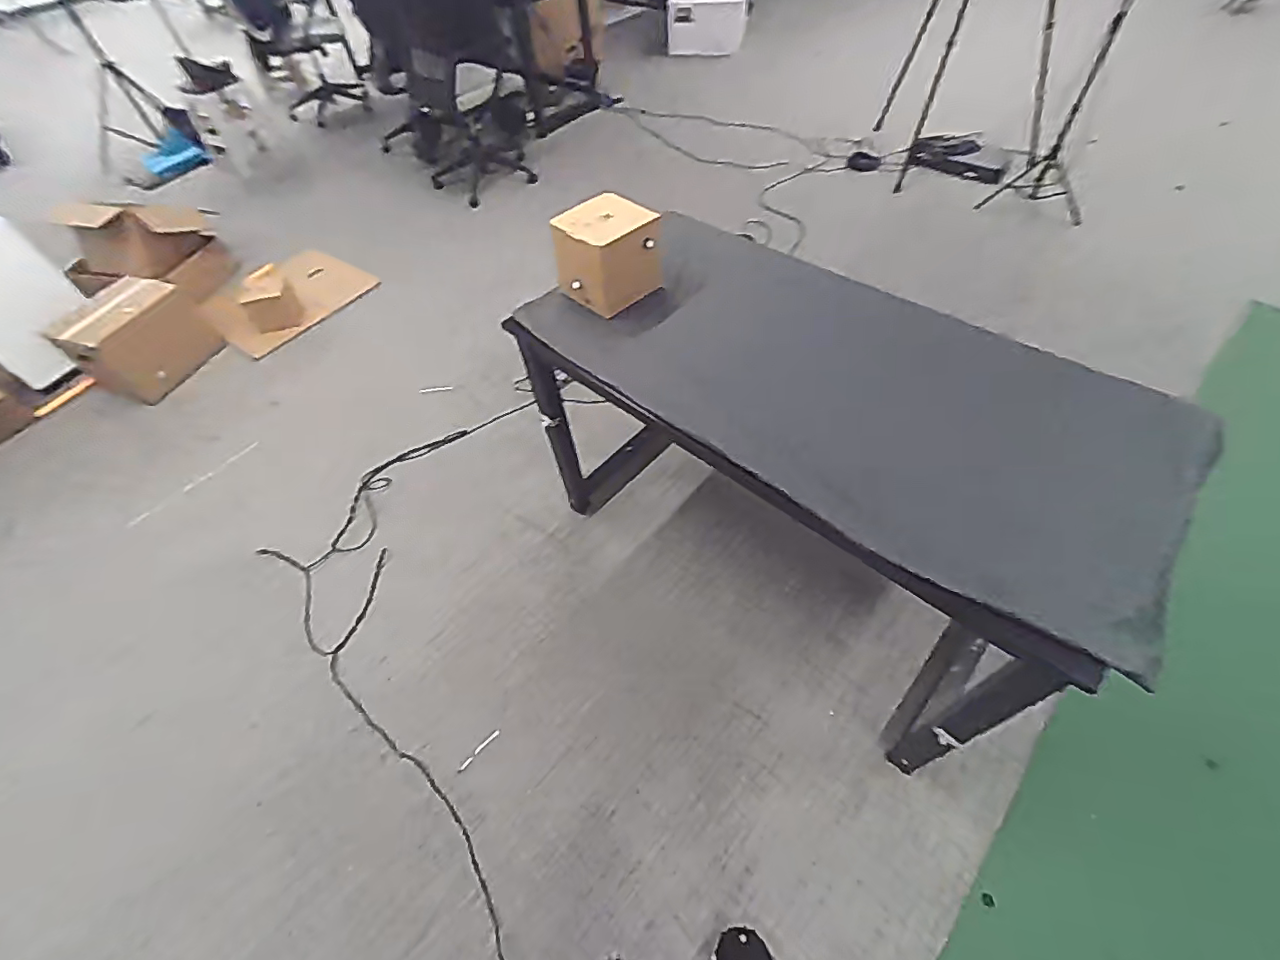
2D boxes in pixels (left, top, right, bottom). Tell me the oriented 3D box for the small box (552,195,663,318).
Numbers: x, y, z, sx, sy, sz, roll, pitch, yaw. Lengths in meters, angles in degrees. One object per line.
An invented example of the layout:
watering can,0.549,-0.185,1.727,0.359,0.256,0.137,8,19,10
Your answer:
small box,-0.067,-0.492,1.194,0.179,0.176,0.168,-39,59,-24
